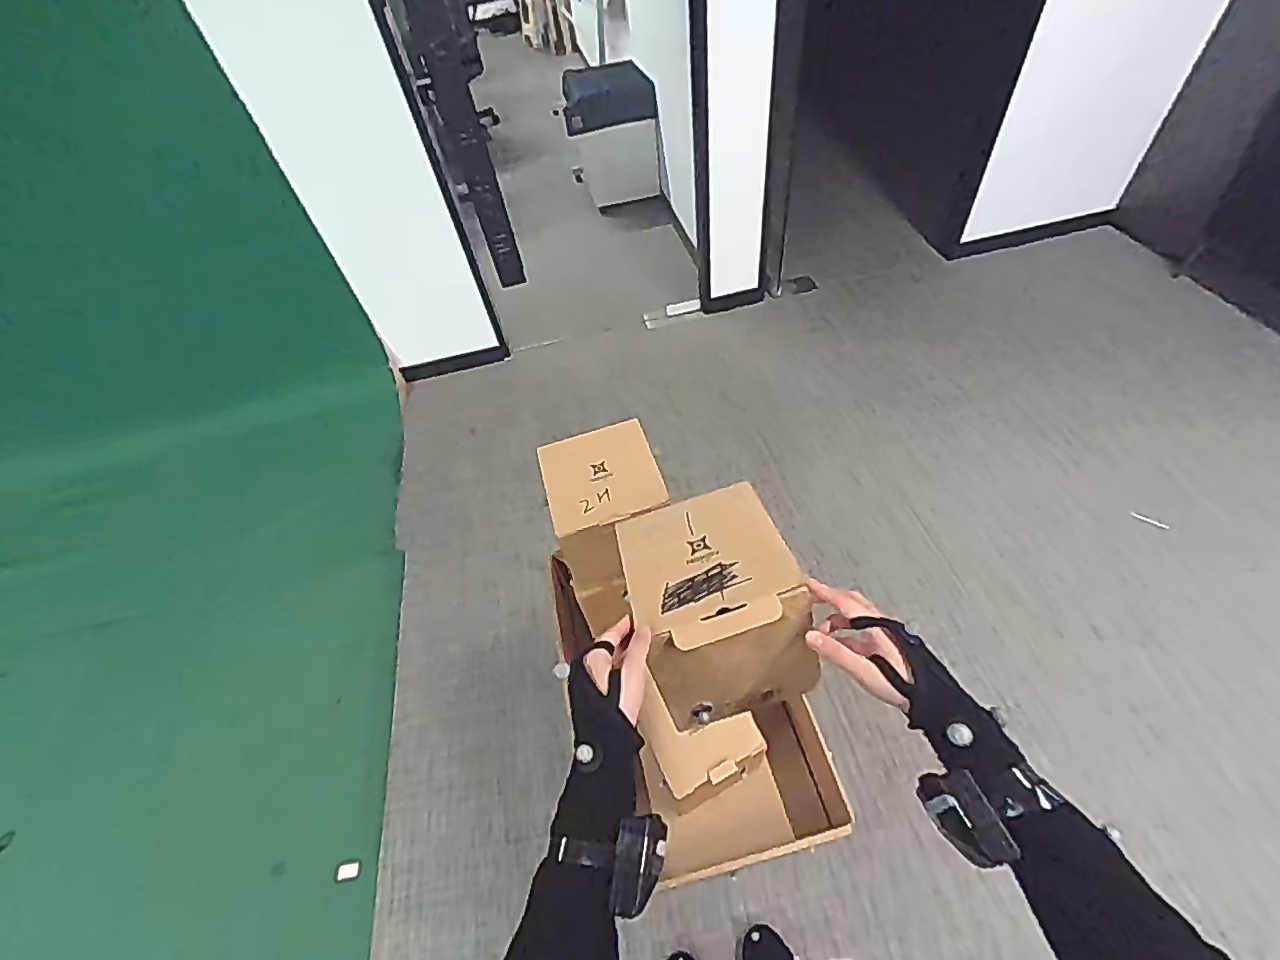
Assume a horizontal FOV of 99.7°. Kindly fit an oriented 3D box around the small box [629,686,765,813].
[{"bbox_3d":[0.098,0.447,0.935,0.168,0.176,0.179,-24,51,-12],"label":"small box"}]

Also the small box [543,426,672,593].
[{"bbox_3d":[-0.044,0.048,0.853,0.168,0.176,0.179,-17,52,-4],"label":"small box"}]

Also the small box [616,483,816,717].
[{"bbox_3d":[0.083,0.138,0.602,0.168,0.176,0.179,-18,36,2],"label":"small box"}]

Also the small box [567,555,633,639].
[{"bbox_3d":[-0.028,0.160,0.973,0.179,0.176,0.168,-18,51,-5],"label":"small box"}]
